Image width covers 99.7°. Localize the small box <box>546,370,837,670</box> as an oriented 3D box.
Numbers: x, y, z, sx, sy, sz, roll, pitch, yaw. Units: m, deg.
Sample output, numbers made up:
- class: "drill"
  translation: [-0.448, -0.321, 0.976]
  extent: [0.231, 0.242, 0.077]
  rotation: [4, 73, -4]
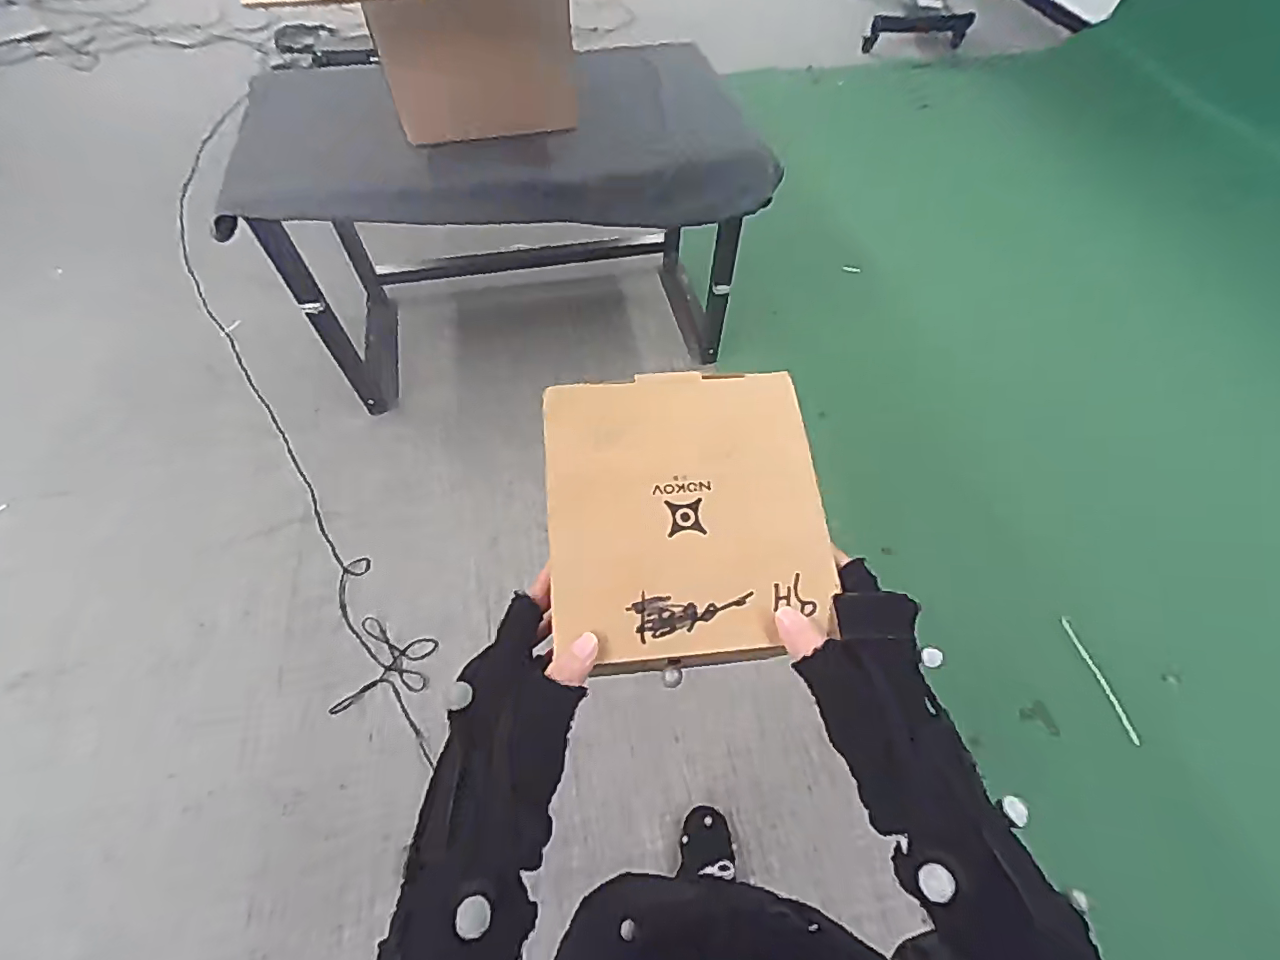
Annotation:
- class: "small box"
  translation: [0.021, 0.040, 0.406]
  extent: [0.168, 0.176, 0.179]
  rotation: [-5, 68, -3]
